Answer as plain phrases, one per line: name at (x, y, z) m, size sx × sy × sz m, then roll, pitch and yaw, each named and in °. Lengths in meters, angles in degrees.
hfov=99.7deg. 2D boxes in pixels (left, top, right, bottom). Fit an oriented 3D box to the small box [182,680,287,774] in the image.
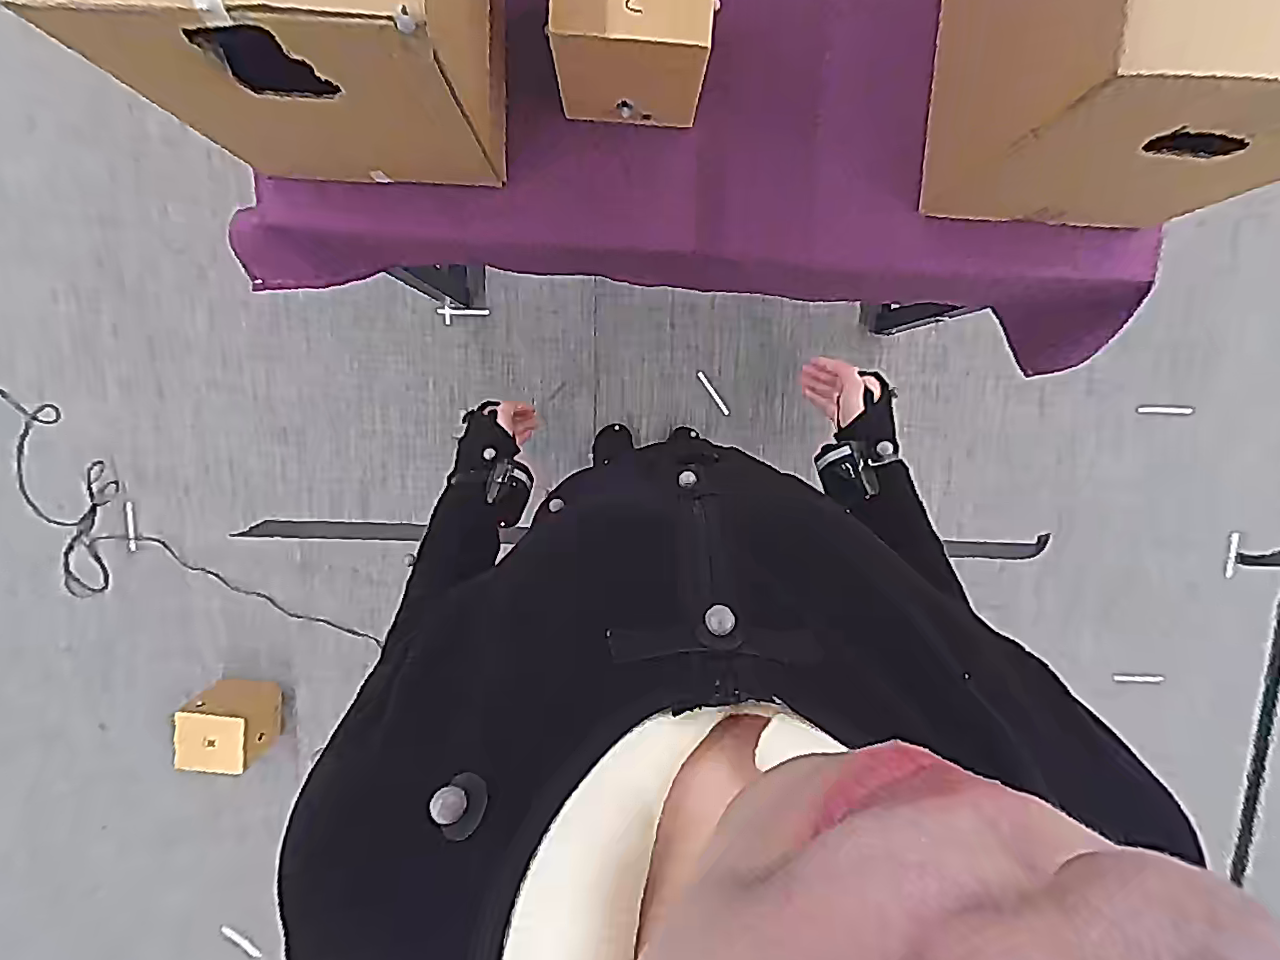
small box at (-1.106, 0.672, 1.487) m, size 0.179 × 0.176 × 0.168 m, roll 7°, pitch 99°, yaw -2°
